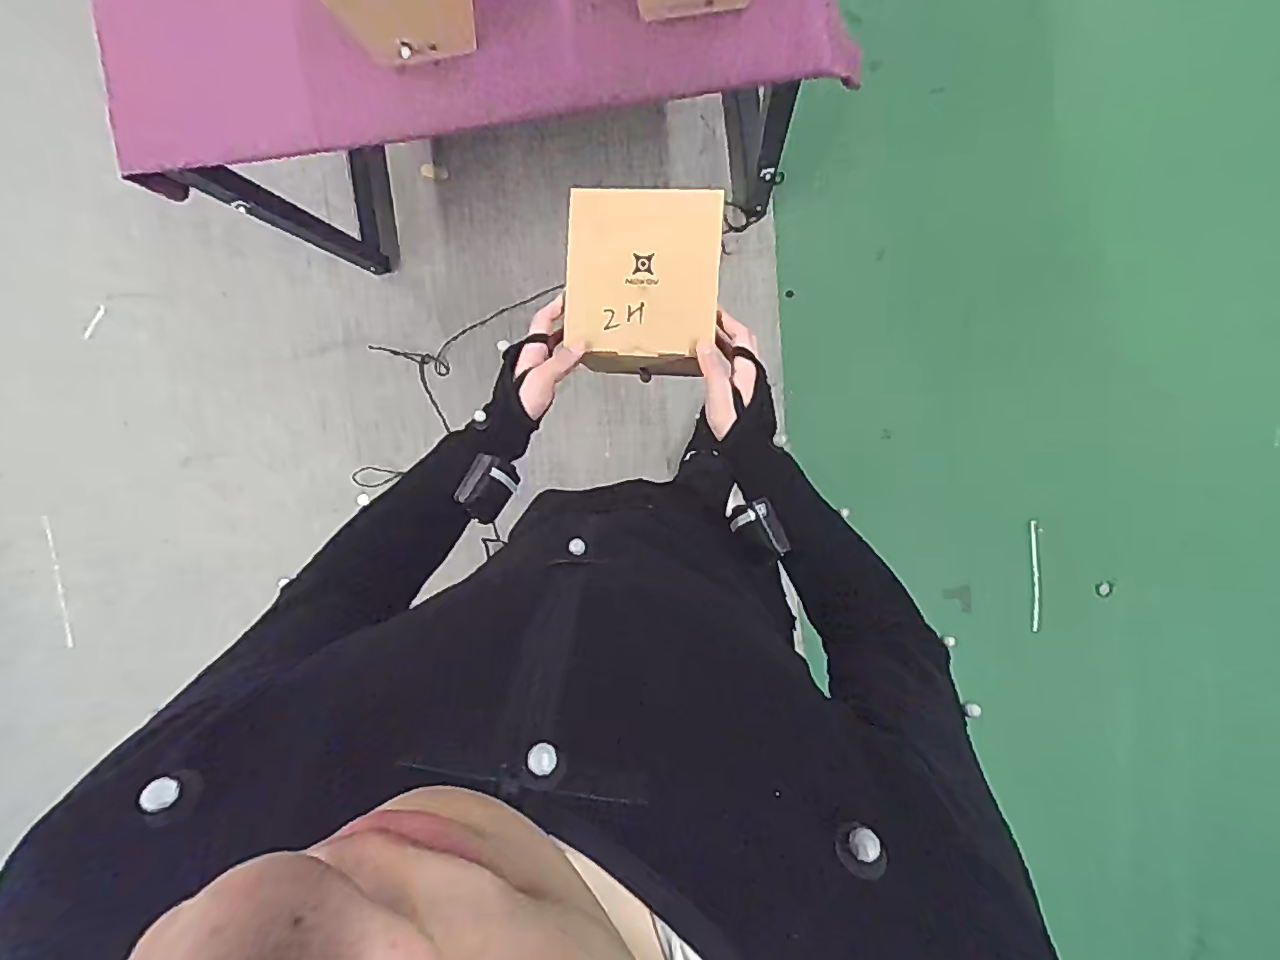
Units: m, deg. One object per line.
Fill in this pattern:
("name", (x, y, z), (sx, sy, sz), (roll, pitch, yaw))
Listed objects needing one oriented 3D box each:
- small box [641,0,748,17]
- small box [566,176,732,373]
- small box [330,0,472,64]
("small box", (0.070, -0.776, 0.717), (0.168, 0.176, 0.179), (-2, 93, 8))
("small box", (0.015, -0.230, 0.643), (0.168, 0.176, 0.179), (4, 94, 6))
("small box", (-0.356, -0.747, 0.769), (0.168, 0.176, 0.179), (-4, 94, 7))
